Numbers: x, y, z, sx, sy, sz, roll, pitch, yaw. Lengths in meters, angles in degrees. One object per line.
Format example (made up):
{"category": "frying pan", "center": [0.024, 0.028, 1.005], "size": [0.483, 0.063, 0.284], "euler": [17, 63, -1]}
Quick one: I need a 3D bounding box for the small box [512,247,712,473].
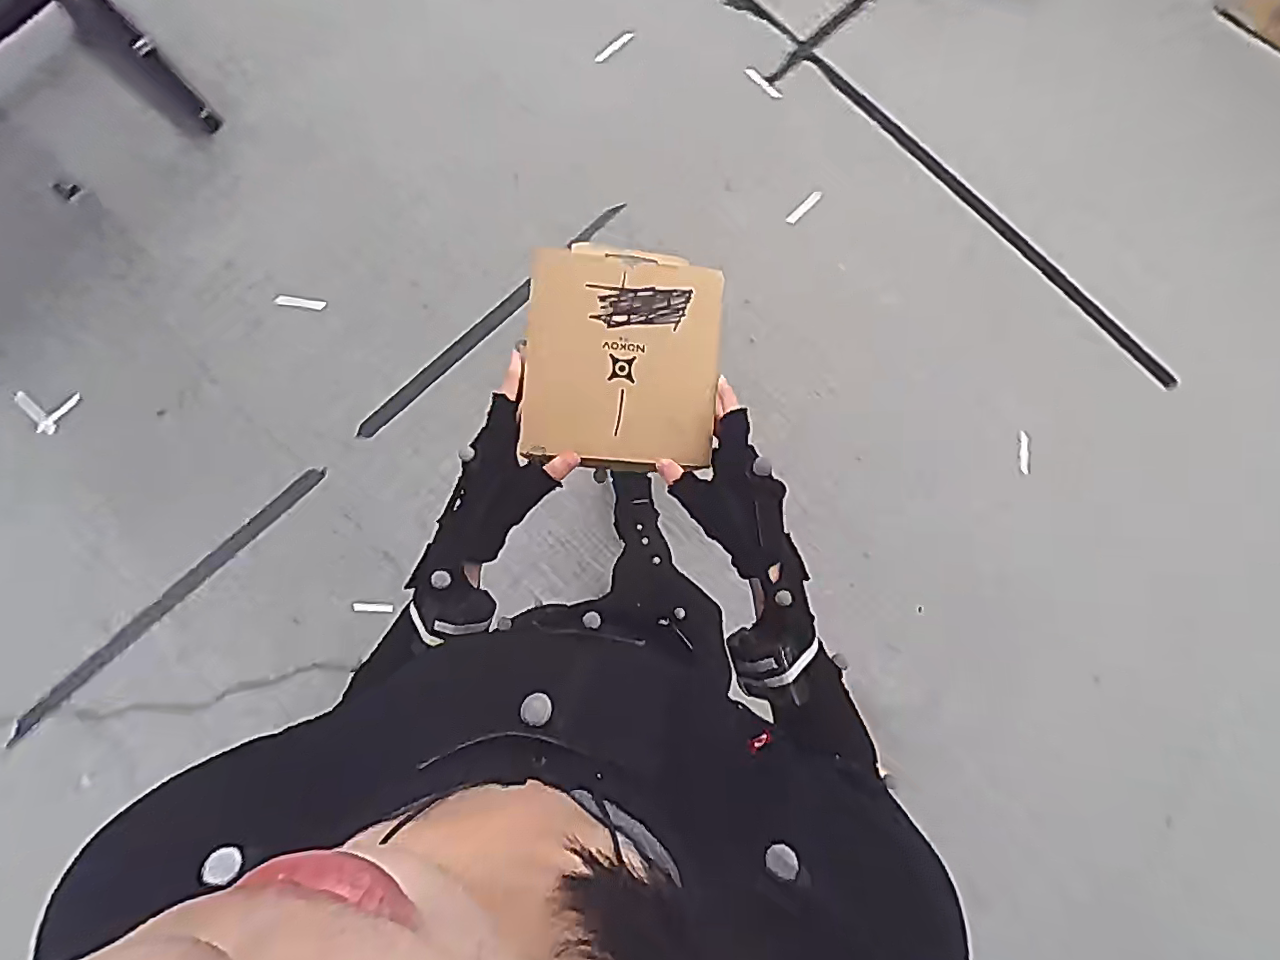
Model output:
{"category": "small box", "center": [-0.033, -0.102, 0.540], "size": [0.168, 0.176, 0.179], "euler": [3, 89, -8]}
